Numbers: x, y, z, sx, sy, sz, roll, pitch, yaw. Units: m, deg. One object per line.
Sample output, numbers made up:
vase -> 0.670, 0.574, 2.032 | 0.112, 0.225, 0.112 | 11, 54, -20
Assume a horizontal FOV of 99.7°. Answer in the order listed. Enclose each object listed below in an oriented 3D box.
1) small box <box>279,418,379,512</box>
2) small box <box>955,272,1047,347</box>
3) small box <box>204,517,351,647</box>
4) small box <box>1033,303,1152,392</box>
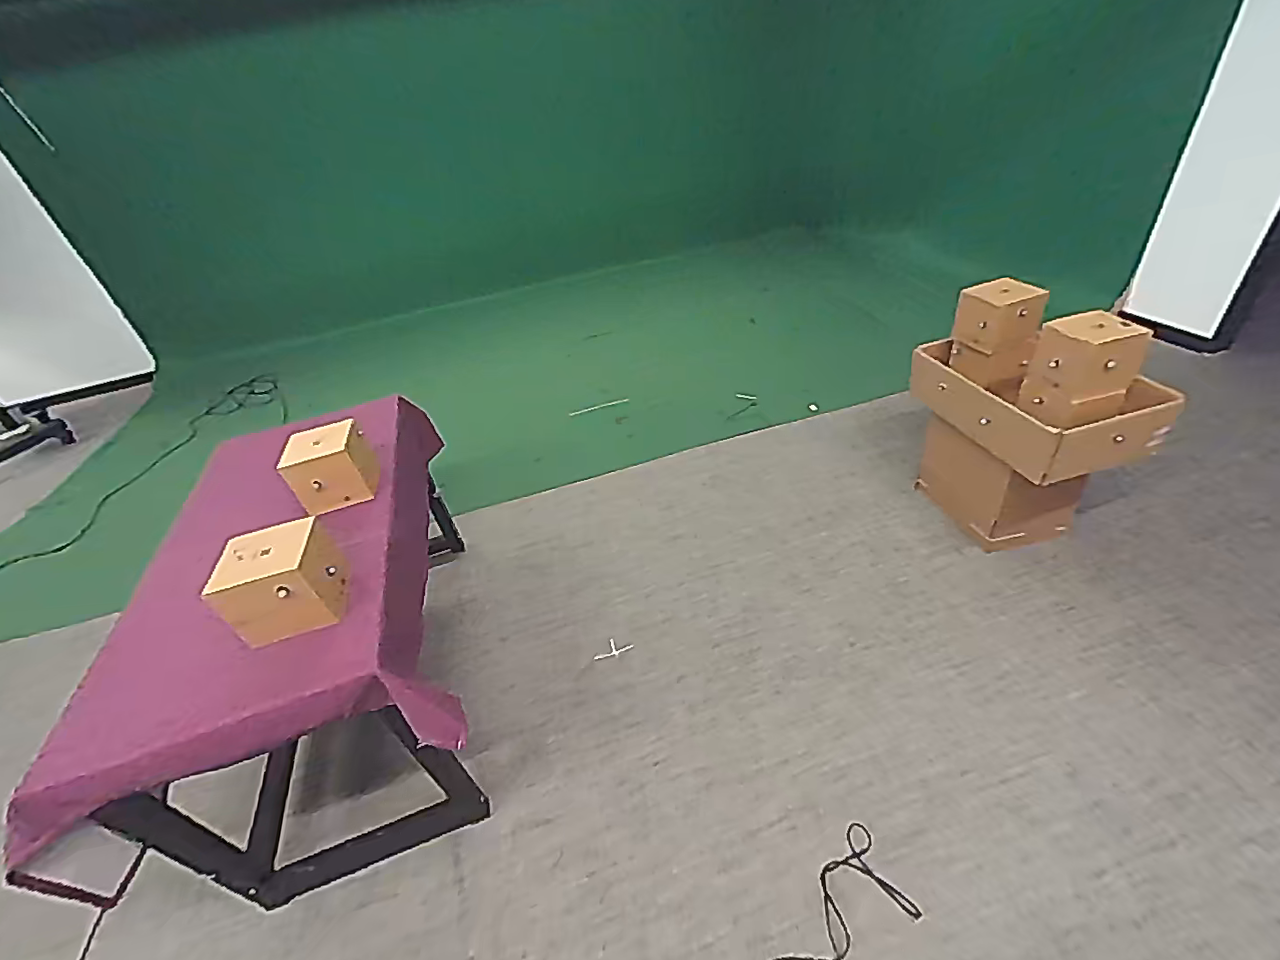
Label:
small box -> -0.820, -0.034, 1.449 | 0.168, 0.176, 0.179 | -18, 38, -8
small box -> 1.150, -0.547, 1.742 | 0.179, 0.176, 0.168 | -18, 39, -9
small box -> -0.725, 0.209, 1.110 | 0.179, 0.176, 0.168 | -17, 37, -7
small box -> 1.225, -0.361, 1.485 | 0.179, 0.176, 0.168 | -14, 38, -3
